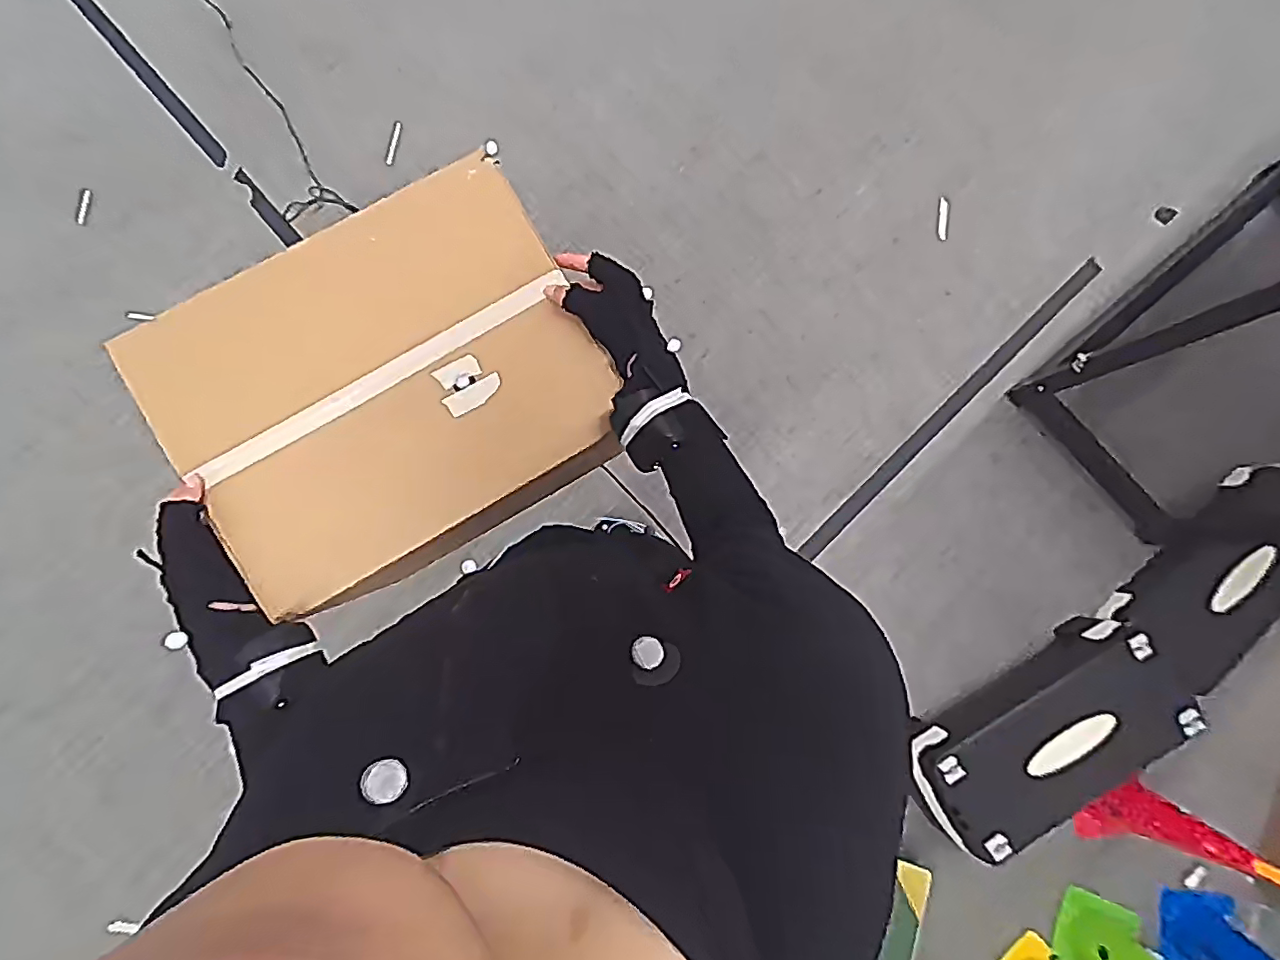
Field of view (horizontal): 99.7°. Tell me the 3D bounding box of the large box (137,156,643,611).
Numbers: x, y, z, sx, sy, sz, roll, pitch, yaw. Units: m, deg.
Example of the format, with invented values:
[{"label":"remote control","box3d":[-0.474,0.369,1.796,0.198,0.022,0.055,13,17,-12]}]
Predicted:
[{"label":"large box","box3d":[-0.253,-0.094,0.683,0.408,0.320,0.320,-31,91,-6]}]
